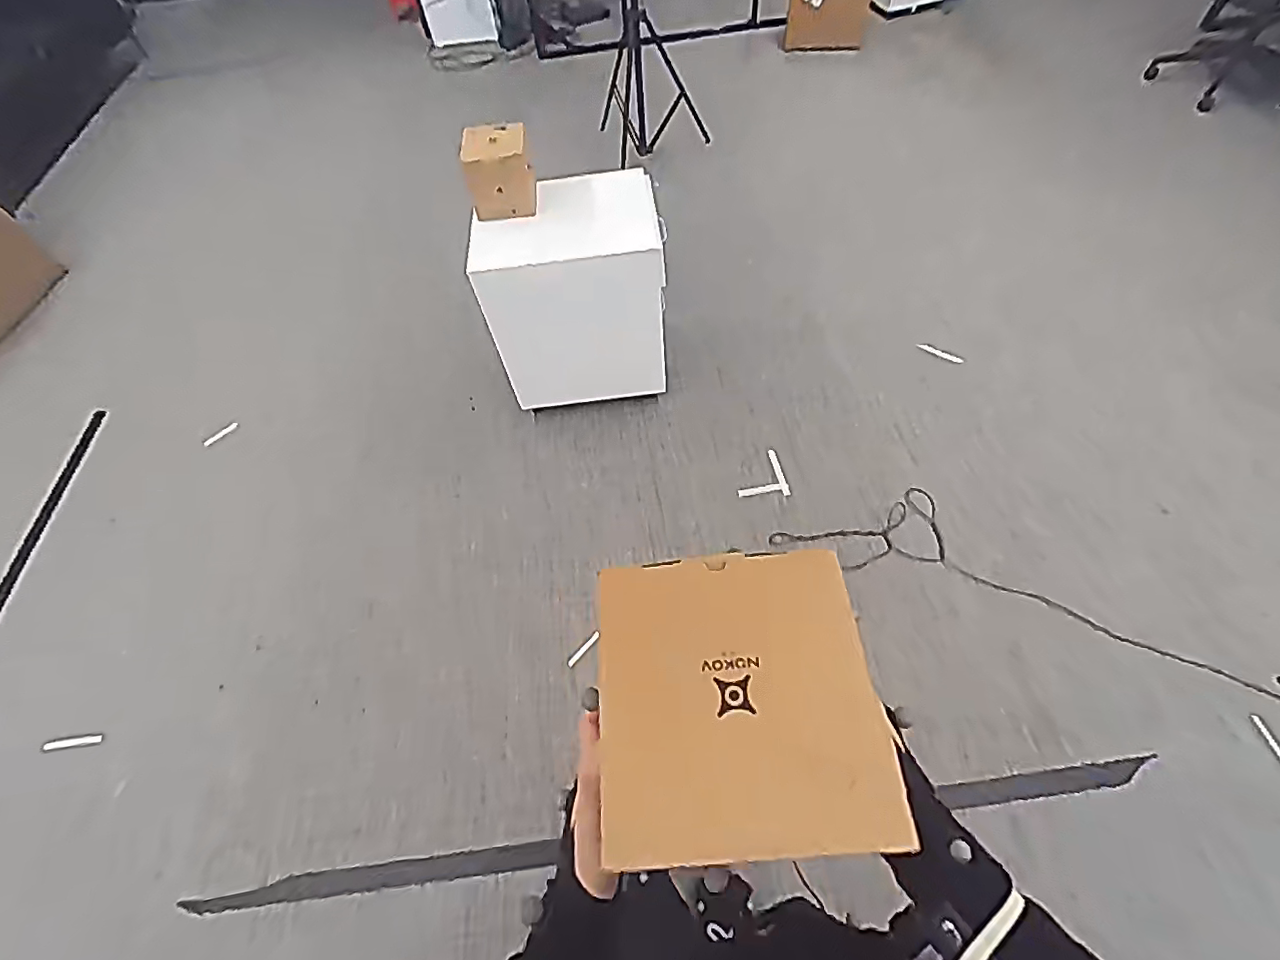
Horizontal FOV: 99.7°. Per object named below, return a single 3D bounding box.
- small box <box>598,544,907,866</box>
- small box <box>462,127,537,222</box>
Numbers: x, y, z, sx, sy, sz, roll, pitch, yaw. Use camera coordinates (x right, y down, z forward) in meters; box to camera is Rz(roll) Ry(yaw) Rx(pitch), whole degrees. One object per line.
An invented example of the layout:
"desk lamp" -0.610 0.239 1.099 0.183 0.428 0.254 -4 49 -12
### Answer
"small box" 0.064 0.168 0.397 0.168 0.176 0.179 -6 55 3
"small box" -0.384 -0.841 1.504 0.168 0.176 0.179 -7 59 -1
